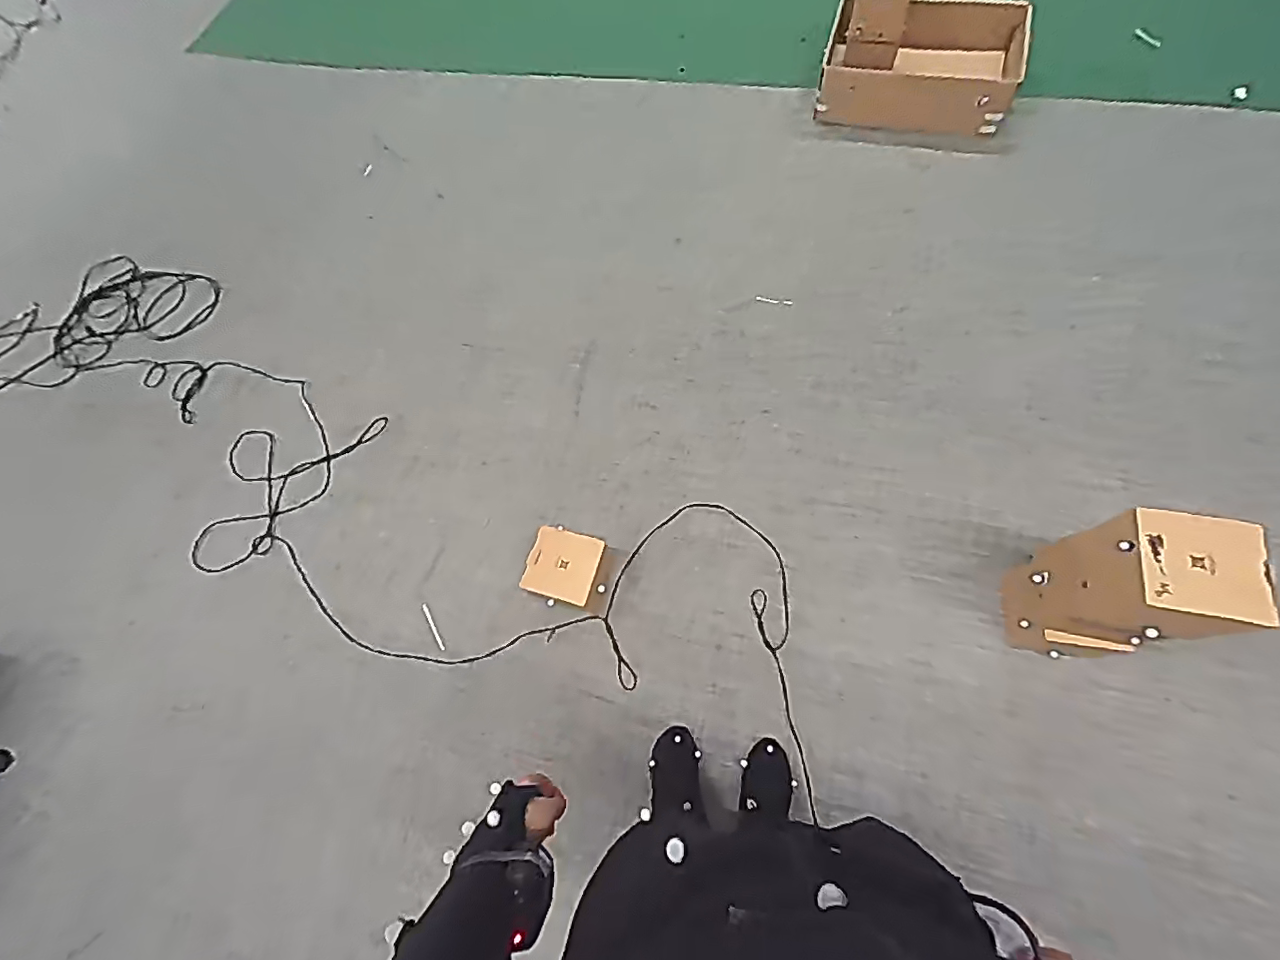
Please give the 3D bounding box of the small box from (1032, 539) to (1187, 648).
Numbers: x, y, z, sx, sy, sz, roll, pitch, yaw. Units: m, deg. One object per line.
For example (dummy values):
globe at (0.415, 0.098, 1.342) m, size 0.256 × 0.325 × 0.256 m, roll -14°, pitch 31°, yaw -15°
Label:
small box at (0.919, 0.230, 1.072) m, size 0.179 × 0.176 × 0.168 m, roll 10°, pitch 69°, yaw 13°

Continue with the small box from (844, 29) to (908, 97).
small box at (0.820, -1.483, 1.884) m, size 0.168 × 0.176 × 0.179 m, roll 11°, pitch 71°, yaw 12°

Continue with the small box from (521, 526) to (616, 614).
small box at (-0.172, 0.237, 1.385) m, size 0.179 × 0.176 × 0.168 m, roll 13°, pitch 70°, yaw 13°

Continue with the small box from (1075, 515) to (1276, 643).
small box at (0.891, 0.175, 0.920) m, size 0.179 × 0.176 × 0.168 m, roll 10°, pitch 69°, yaw 11°

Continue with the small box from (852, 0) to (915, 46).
small box at (0.791, -1.533, 1.730) m, size 0.168 × 0.176 × 0.179 m, roll 13°, pitch 70°, yaw 11°
